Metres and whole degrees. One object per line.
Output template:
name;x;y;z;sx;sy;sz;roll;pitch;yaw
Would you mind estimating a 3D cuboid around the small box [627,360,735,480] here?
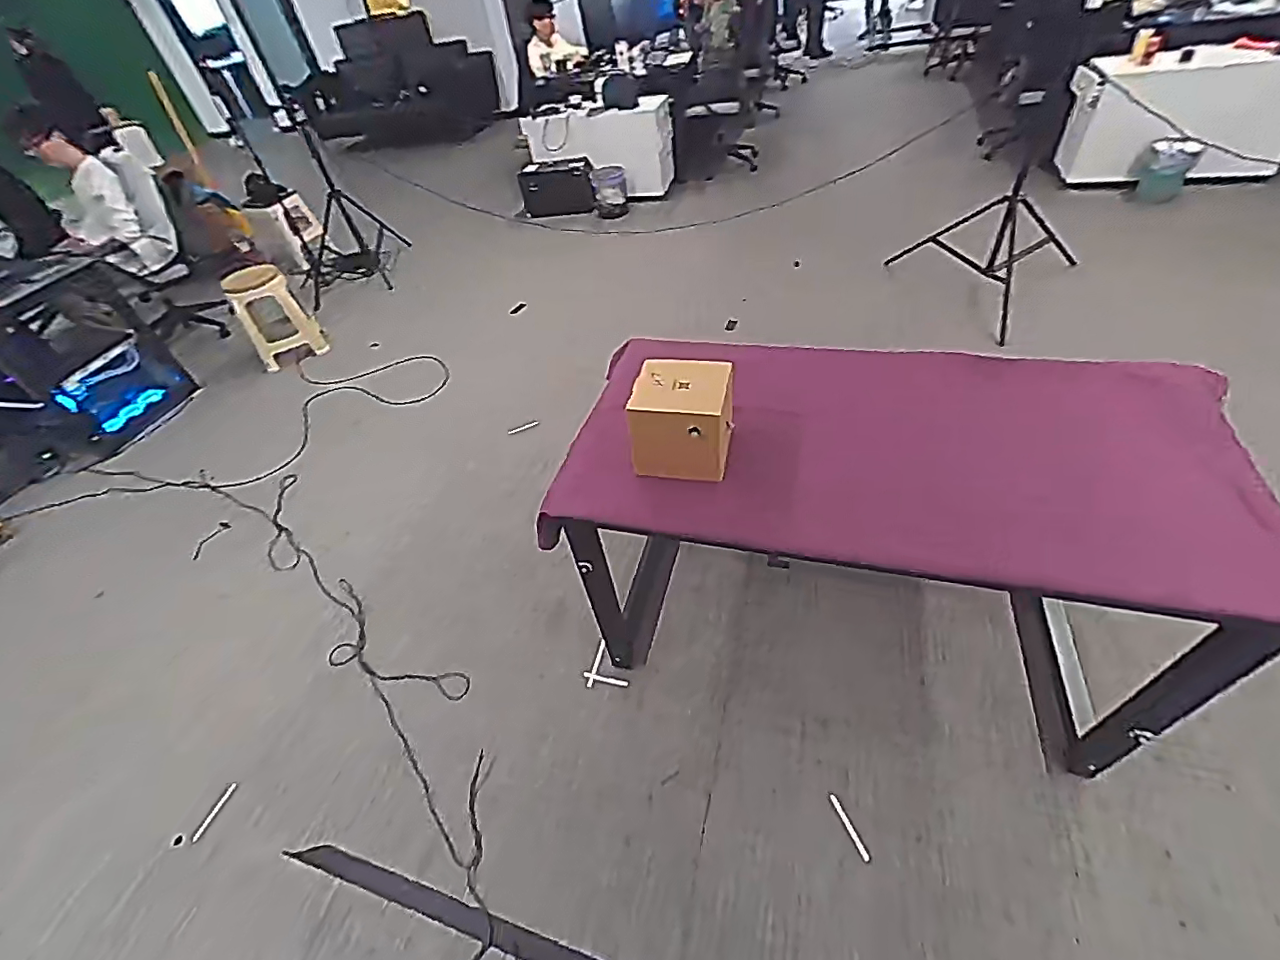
small box;0.088;-0.116;1.060;0.179;0.176;0.168;5;46;15
